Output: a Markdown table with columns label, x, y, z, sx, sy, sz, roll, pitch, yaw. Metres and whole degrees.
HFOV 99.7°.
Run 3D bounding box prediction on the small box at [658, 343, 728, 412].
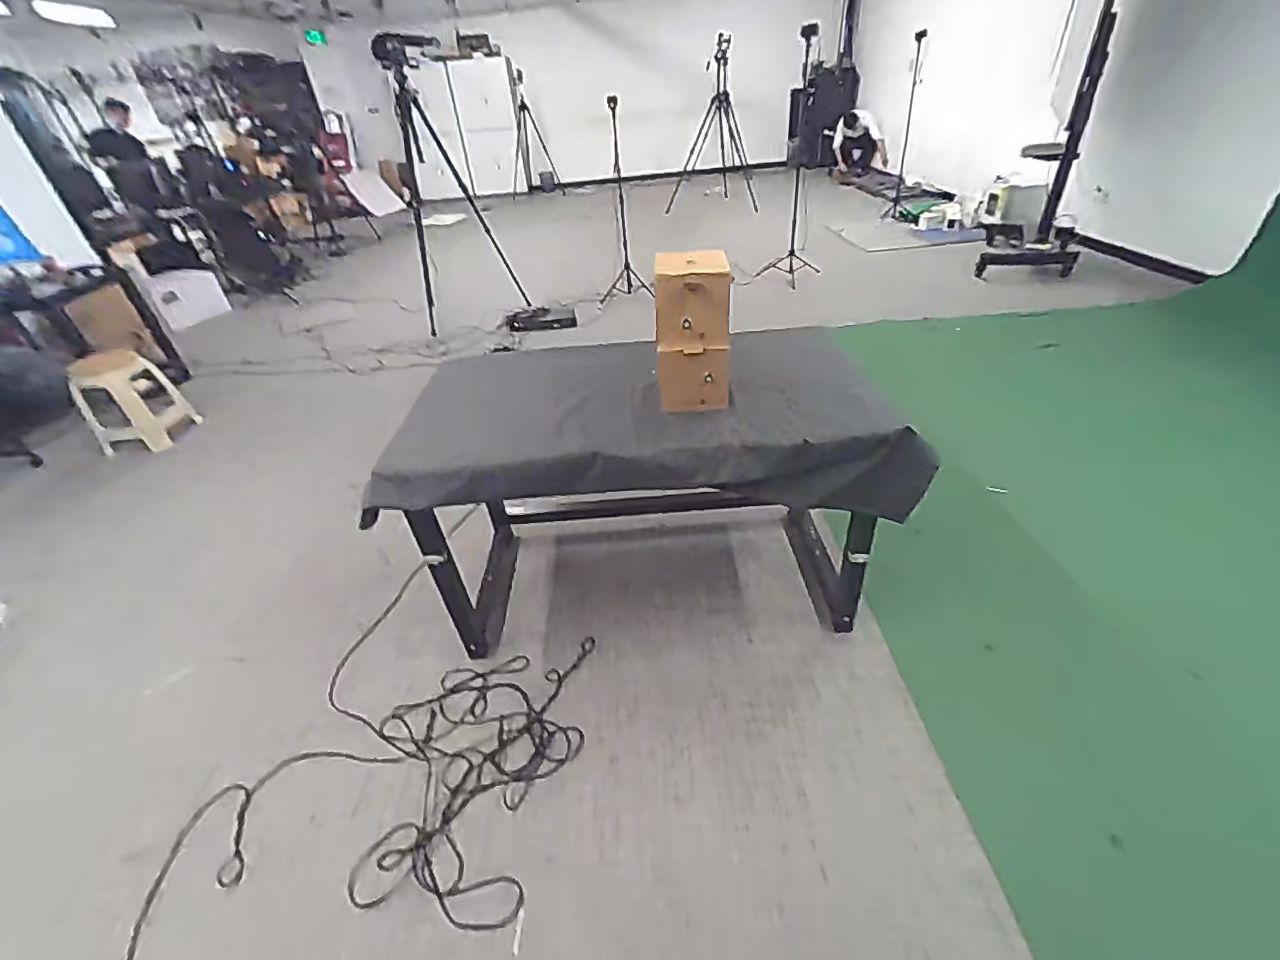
| label | x | y | z | sx | sy | sz | roll | pitch | yaw |
| --- | --- | --- | --- | --- | --- | --- | --- | --- | --- |
| small box | 0.130 | -0.275 | 1.344 | 0.168 | 0.176 | 0.179 | -3 | 35 | 3 |

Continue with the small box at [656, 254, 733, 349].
| label | x | y | z | sx | sy | sz | roll | pitch | yaw |
| --- | --- | --- | --- | --- | --- | --- | --- | --- | --- |
| small box | 0.122 | -0.416 | 1.262 | 0.168 | 0.176 | 0.179 | -2 | 37 | 4 |
